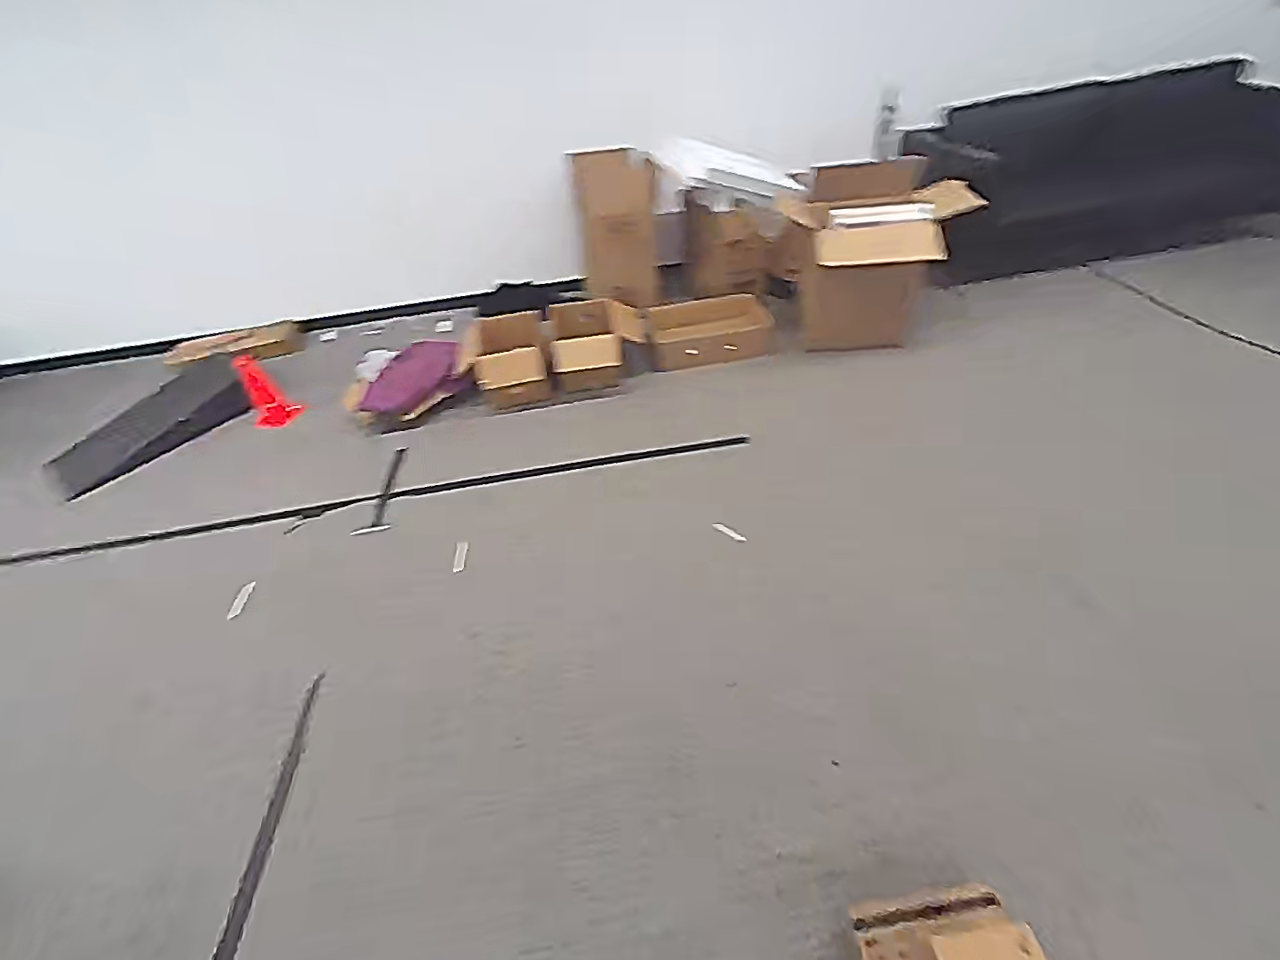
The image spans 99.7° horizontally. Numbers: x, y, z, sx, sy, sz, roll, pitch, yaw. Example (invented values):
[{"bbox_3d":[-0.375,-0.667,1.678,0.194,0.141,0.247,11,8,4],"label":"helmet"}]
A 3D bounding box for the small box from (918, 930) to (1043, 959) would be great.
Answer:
[{"bbox_3d":[0.596,0.893,0.915,0.179,0.176,0.168,-9,42,0],"label":"small box"}]
